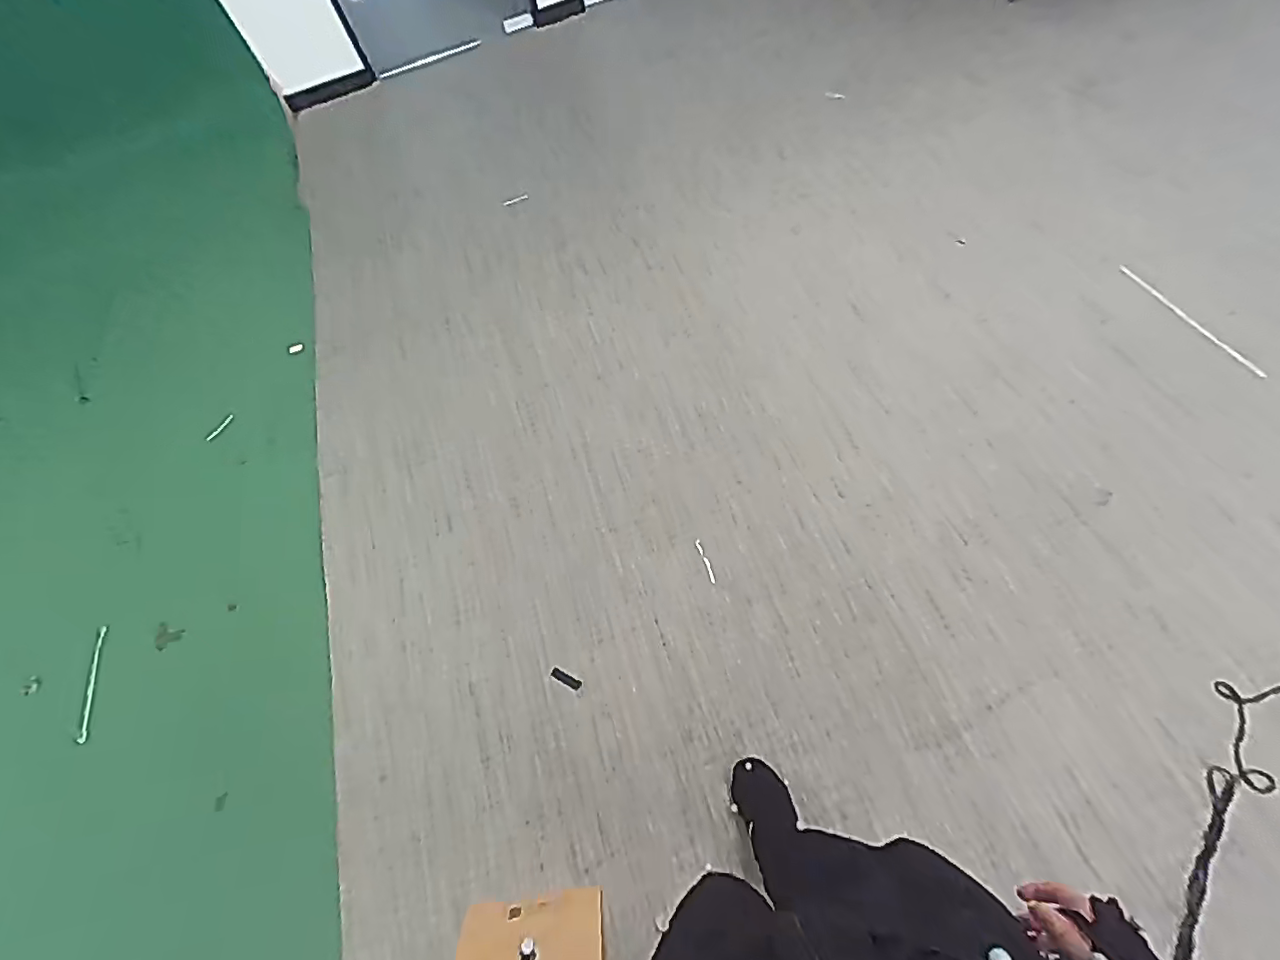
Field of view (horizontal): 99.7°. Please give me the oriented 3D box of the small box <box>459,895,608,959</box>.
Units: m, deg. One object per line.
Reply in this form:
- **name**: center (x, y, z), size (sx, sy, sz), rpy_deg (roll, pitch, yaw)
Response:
- **small box**: center (-0.115, 0.606, 0.600), size (0.168, 0.176, 0.179), rpy_deg (-6, 96, -6)
